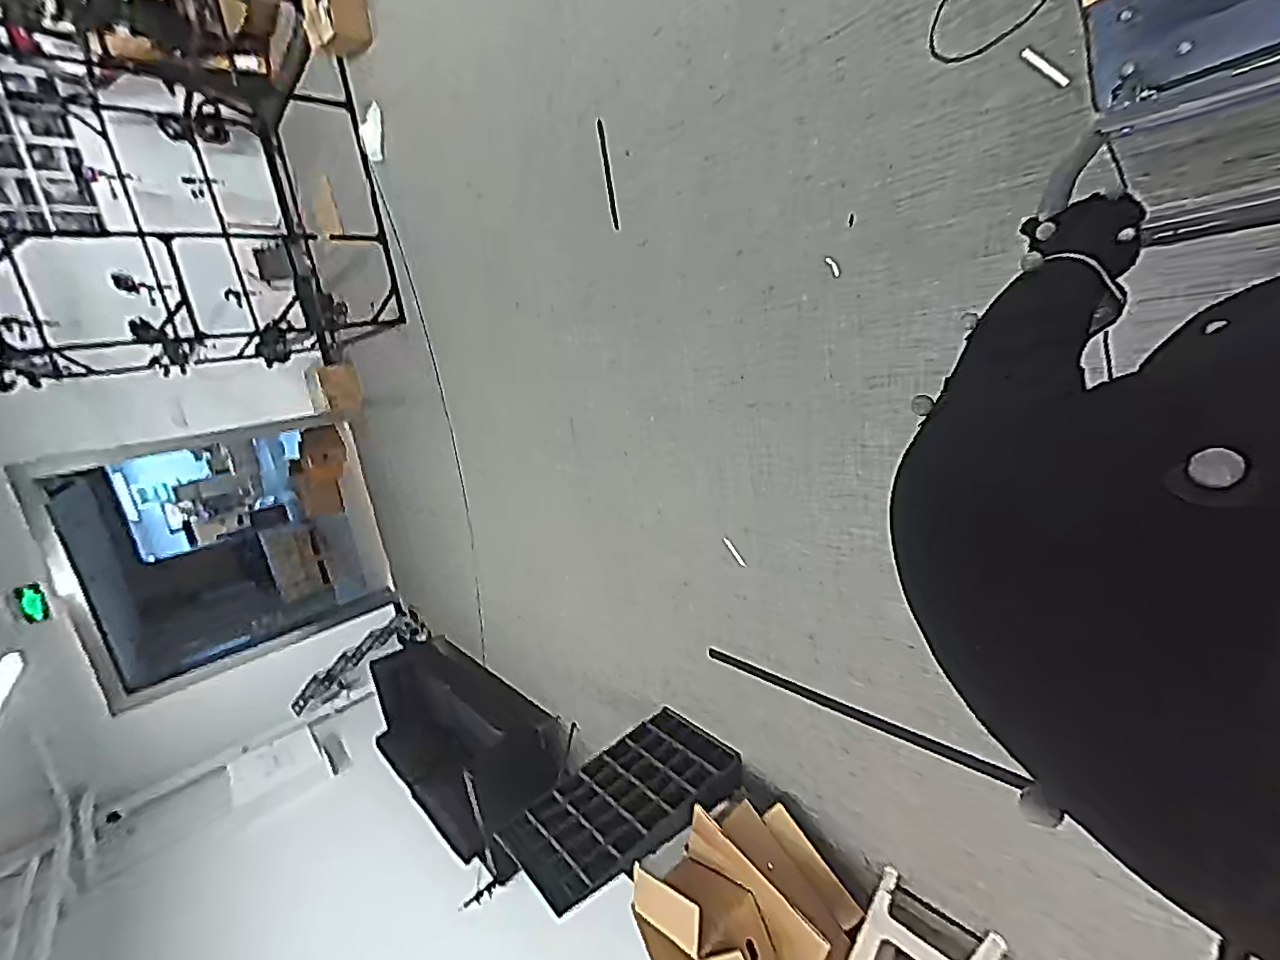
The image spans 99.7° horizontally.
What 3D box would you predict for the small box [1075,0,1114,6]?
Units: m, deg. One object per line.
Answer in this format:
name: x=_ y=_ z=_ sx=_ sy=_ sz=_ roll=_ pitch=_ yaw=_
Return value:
small box: x=0.735 y=-0.814 z=0.763 sx=0.179 sy=0.176 sz=0.168 roll=1 pitch=121 yaw=49
